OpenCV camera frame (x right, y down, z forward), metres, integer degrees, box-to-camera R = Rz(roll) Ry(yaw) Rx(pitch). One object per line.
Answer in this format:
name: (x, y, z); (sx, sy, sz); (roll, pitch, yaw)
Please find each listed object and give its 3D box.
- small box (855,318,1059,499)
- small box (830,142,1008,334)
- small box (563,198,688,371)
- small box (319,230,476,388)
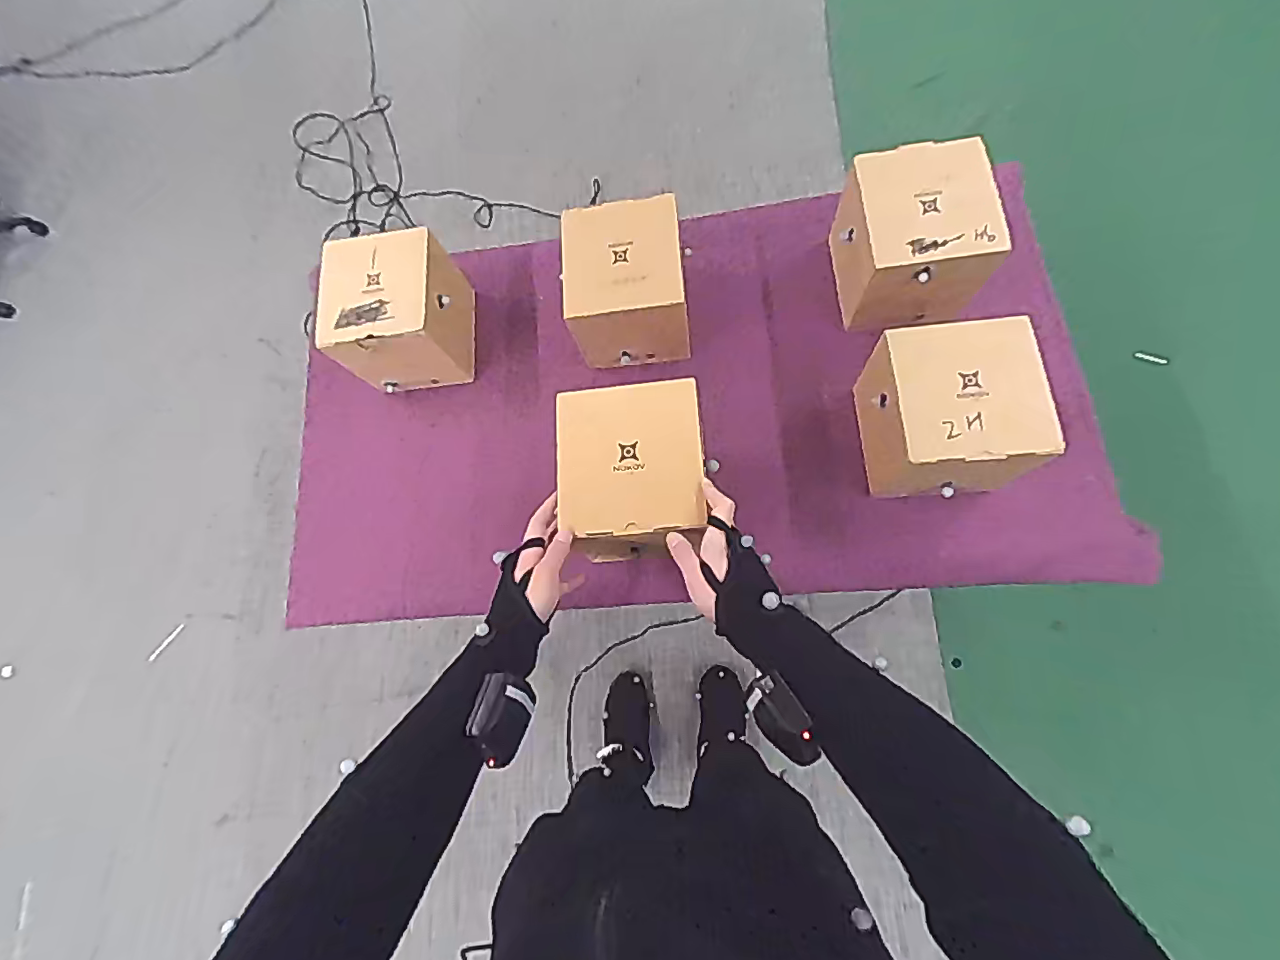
small box: (0.391, -0.084, 0.705); (0.168, 0.176, 0.179); (-4, 73, 8)
small box: (0.381, -0.336, 0.776); (0.168, 0.176, 0.179); (-6, 75, 7)
small box: (-0.016, -0.286, 0.819); (0.168, 0.176, 0.179); (-5, 75, 7)
small box: (-0.372, -0.257, 0.857); (0.168, 0.176, 0.179); (-6, 74, 6)
